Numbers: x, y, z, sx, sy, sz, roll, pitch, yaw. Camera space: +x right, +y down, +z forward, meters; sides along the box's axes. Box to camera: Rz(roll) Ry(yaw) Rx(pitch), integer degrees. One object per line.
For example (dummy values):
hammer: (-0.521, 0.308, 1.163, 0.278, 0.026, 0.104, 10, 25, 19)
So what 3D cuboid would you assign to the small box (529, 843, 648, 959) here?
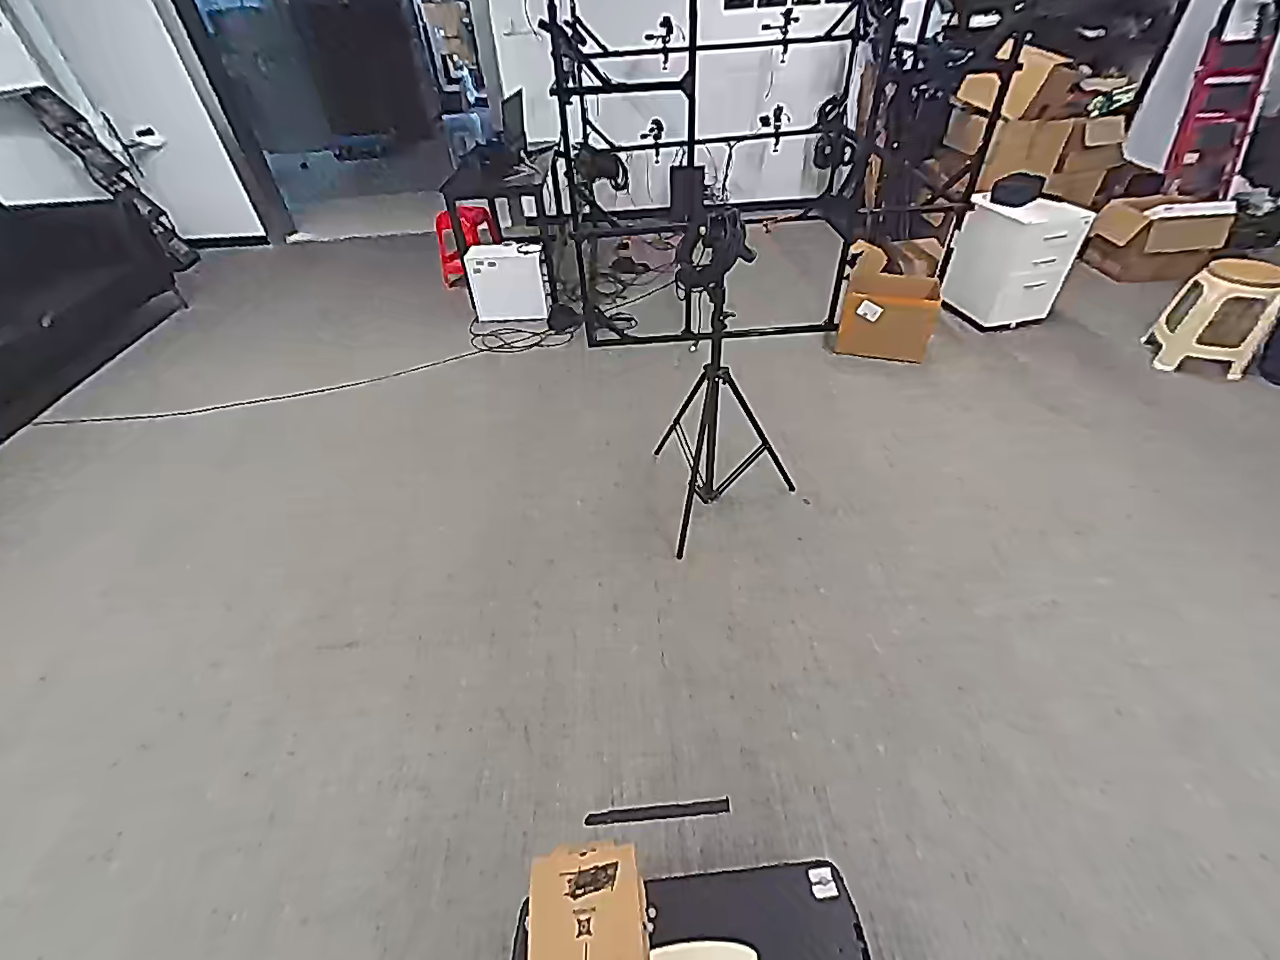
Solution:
small box: (-0.075, 0.698, 0.838, 0.168, 0.176, 0.179, -6, 42, -3)
